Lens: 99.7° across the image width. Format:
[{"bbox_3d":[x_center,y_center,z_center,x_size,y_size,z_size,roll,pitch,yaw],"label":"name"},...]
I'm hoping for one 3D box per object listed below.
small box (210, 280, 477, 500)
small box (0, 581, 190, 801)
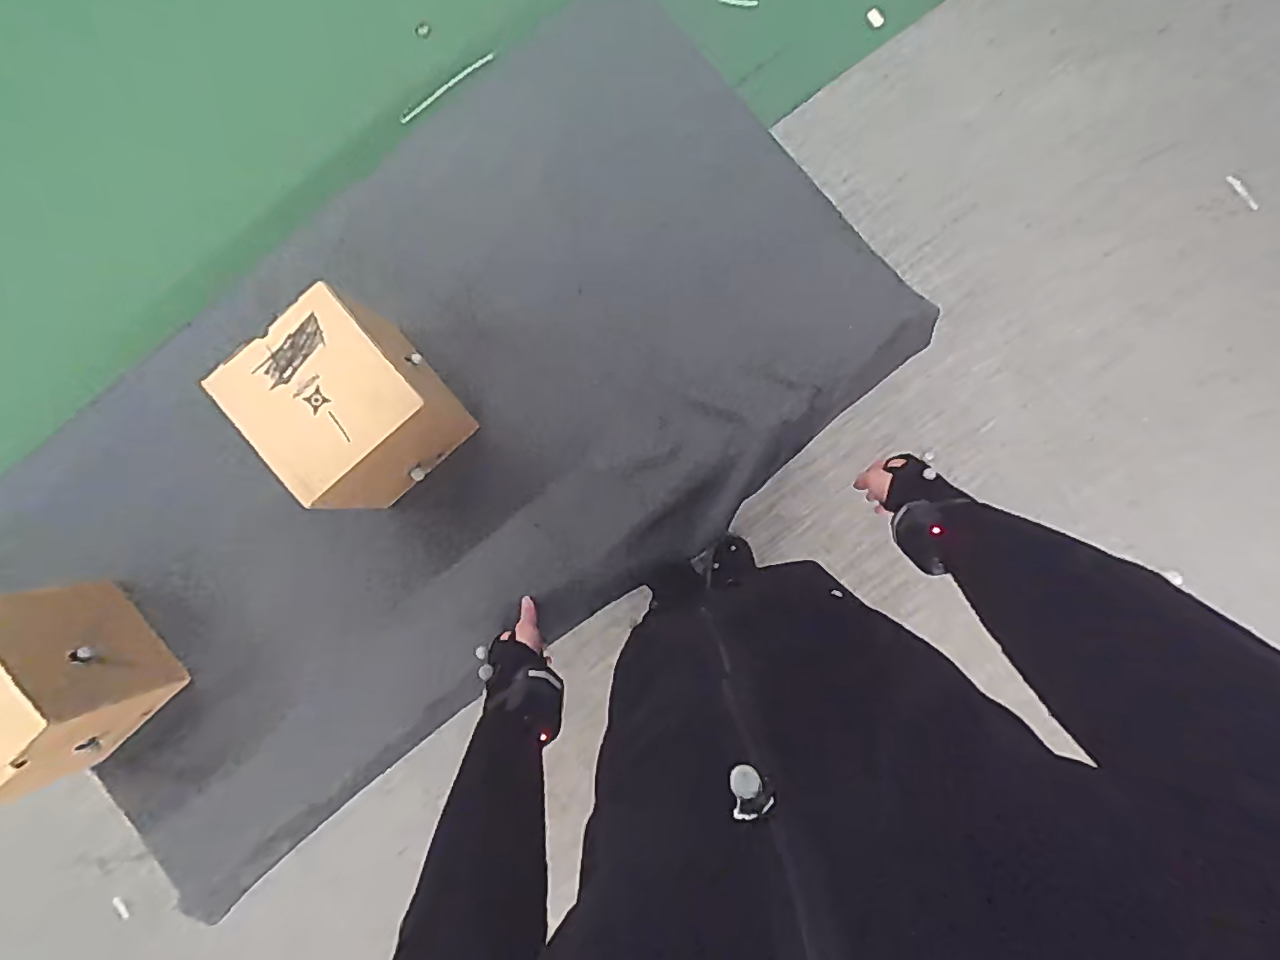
[{"bbox_3d":[-0.328,-0.089,0.634,0.168,0.176,0.179,-41,87,1],"label":"small box"},{"bbox_3d":[-0.703,0.240,0.639,0.168,0.176,0.179,-43,86,0],"label":"small box"}]
